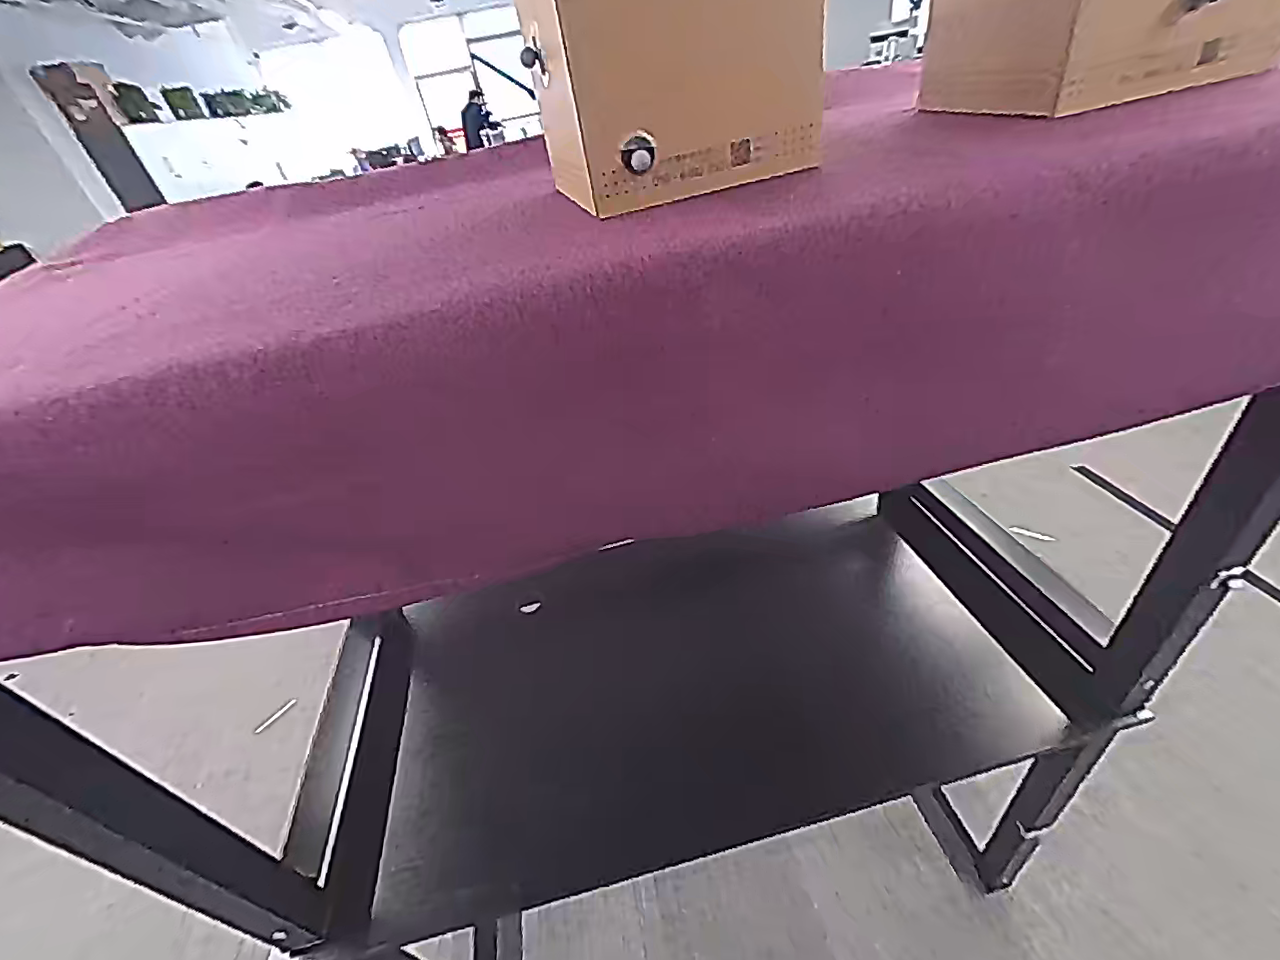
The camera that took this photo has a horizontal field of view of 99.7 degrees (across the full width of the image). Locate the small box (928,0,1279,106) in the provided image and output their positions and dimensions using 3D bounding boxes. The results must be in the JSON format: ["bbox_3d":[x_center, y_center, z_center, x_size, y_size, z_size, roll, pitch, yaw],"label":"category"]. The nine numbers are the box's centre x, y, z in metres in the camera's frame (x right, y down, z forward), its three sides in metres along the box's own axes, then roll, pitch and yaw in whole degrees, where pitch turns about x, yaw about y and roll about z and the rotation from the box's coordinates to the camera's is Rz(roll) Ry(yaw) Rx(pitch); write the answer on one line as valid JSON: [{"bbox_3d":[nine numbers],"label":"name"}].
[{"bbox_3d":[0.333,-0.379,0.383,0.168,0.176,0.179,-13,36,0],"label":"small box"}]

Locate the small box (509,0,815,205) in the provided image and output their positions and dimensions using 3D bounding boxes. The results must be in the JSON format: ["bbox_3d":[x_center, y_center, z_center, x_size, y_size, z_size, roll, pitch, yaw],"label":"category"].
[{"bbox_3d":[0.010,-0.304,0.376,0.168,0.176,0.179,-17,36,-8],"label":"small box"}]
